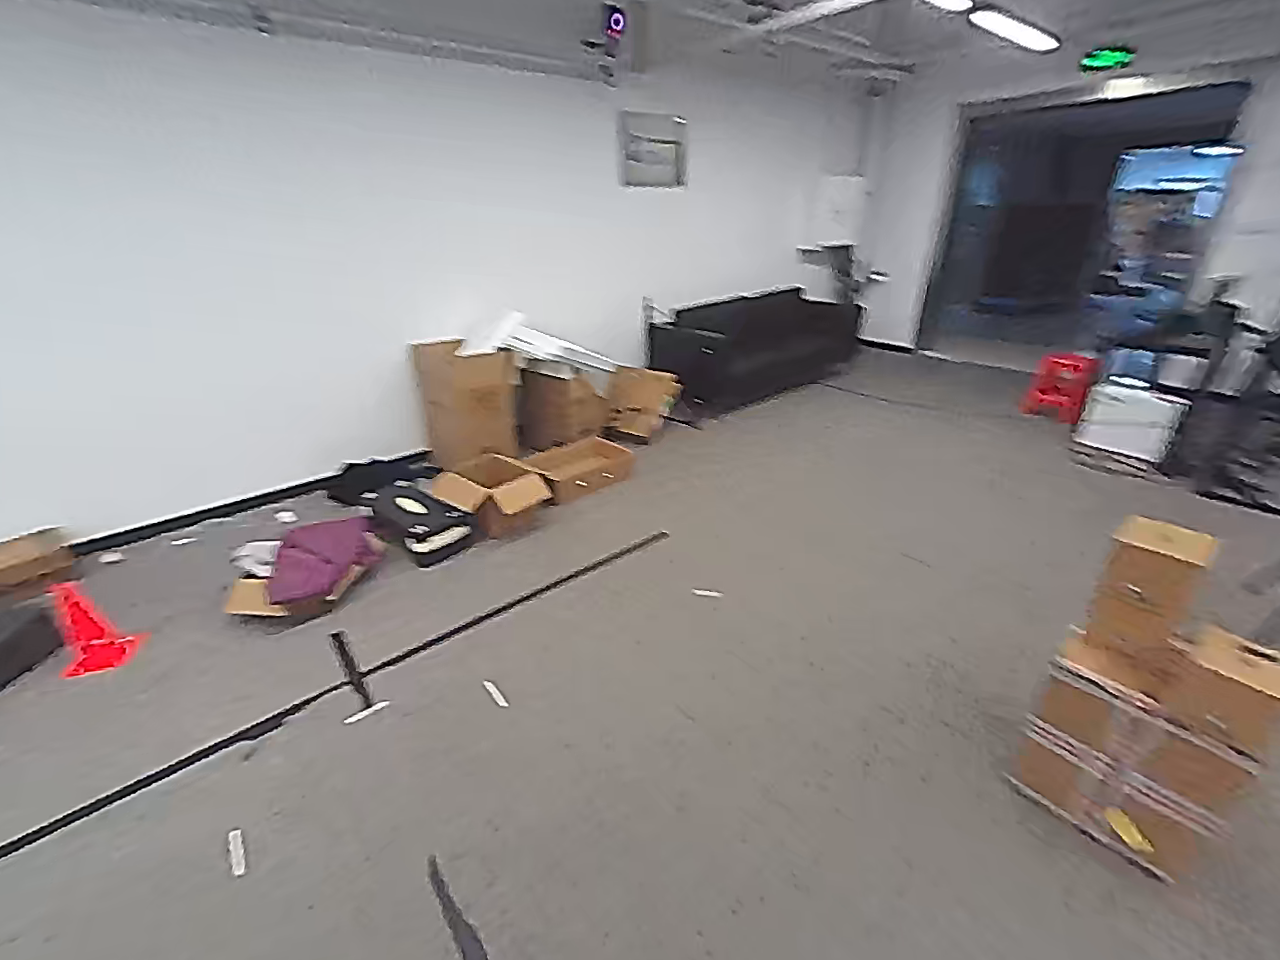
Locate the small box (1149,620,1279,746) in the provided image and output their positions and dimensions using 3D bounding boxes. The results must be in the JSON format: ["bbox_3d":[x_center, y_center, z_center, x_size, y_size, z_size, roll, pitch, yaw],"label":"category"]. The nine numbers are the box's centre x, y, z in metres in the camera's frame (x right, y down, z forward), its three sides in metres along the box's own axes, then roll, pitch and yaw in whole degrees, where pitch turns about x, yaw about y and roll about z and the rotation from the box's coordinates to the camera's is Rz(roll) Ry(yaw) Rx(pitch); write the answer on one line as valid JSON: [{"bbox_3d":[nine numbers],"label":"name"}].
[{"bbox_3d":[1.326,0.464,1.249,0.179,0.176,0.168,-23,34,-33],"label":"small box"}]

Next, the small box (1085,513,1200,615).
[{"bbox_3d":[1.287,0.212,1.393,0.179,0.176,0.168,-23,31,-33],"label":"small box"}]

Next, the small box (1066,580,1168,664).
[{"bbox_3d":[1.296,0.357,1.465,0.179,0.176,0.168,-23,31,-33],"label":"small box"}]
